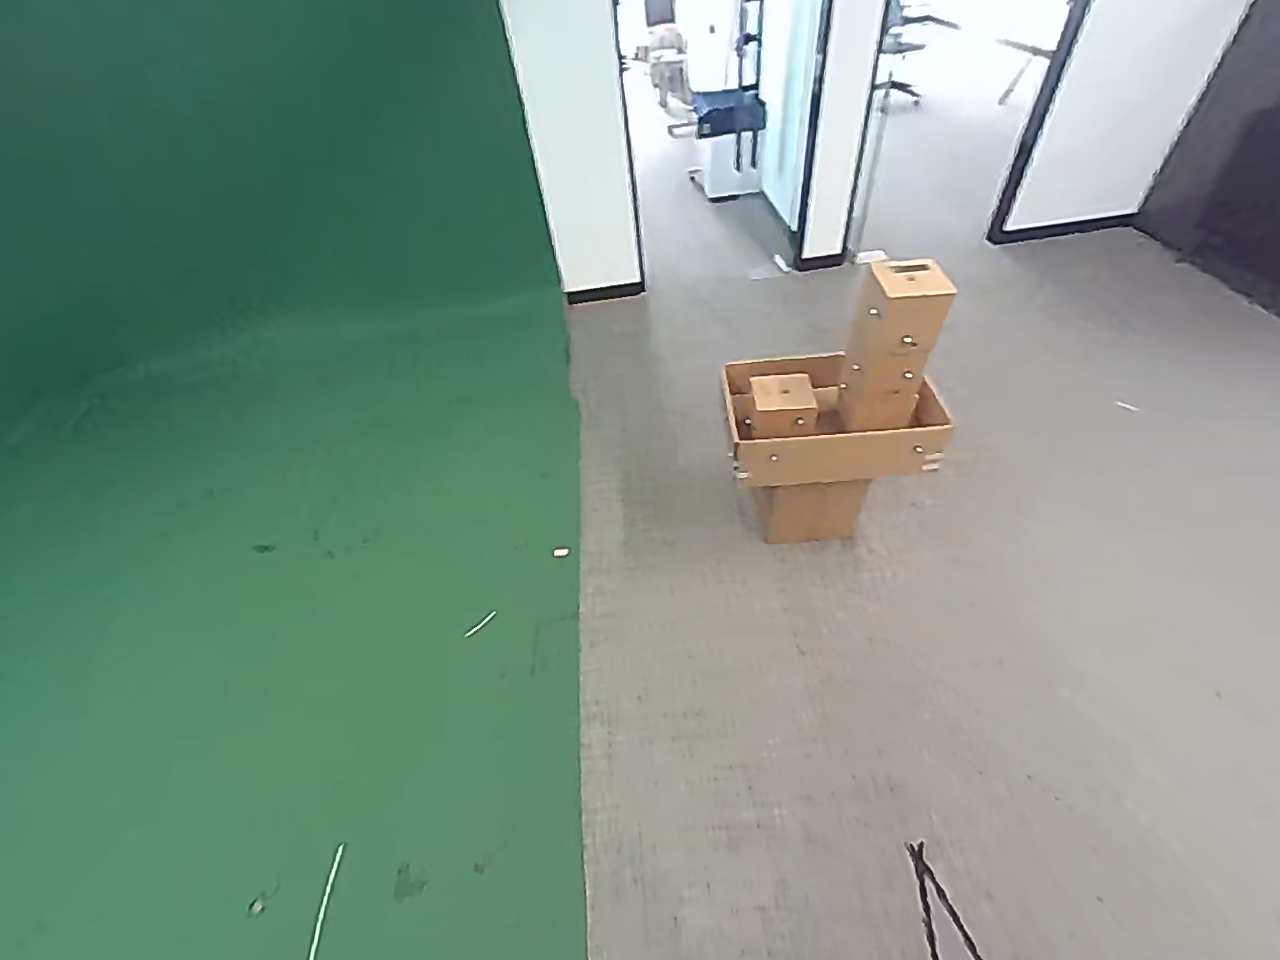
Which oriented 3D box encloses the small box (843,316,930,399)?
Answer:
[{"bbox_3d":[0.698,-0.346,1.549,0.168,0.176,0.179,-3,47,3],"label":"small box"}]
